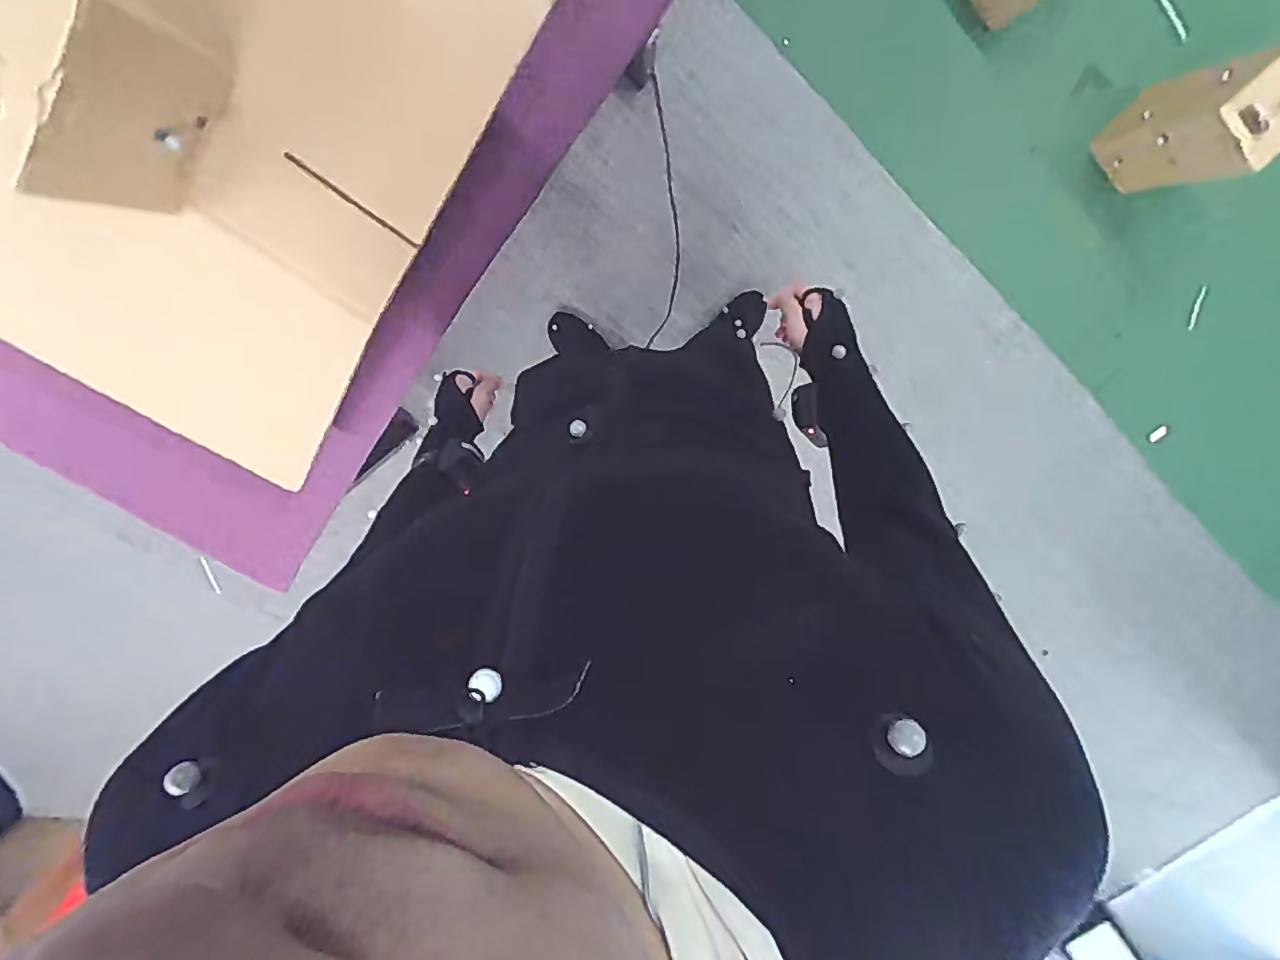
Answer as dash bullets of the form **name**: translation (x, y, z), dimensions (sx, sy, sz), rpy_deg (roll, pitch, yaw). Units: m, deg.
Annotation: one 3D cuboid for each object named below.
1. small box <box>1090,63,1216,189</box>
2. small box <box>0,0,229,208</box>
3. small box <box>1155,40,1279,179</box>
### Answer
- **small box**: translation (1.253, -0.834, 1.295), dimensions (0.168, 0.176, 0.179), rpy_deg (39, 106, -16)
- **small box**: translation (-0.513, -0.359, 0.458), dimensions (0.179, 0.176, 0.168), rpy_deg (35, 105, -15)
- **small box**: translation (1.258, -0.772, 1.143), dimensions (0.168, 0.176, 0.179), rpy_deg (39, 105, -16)
